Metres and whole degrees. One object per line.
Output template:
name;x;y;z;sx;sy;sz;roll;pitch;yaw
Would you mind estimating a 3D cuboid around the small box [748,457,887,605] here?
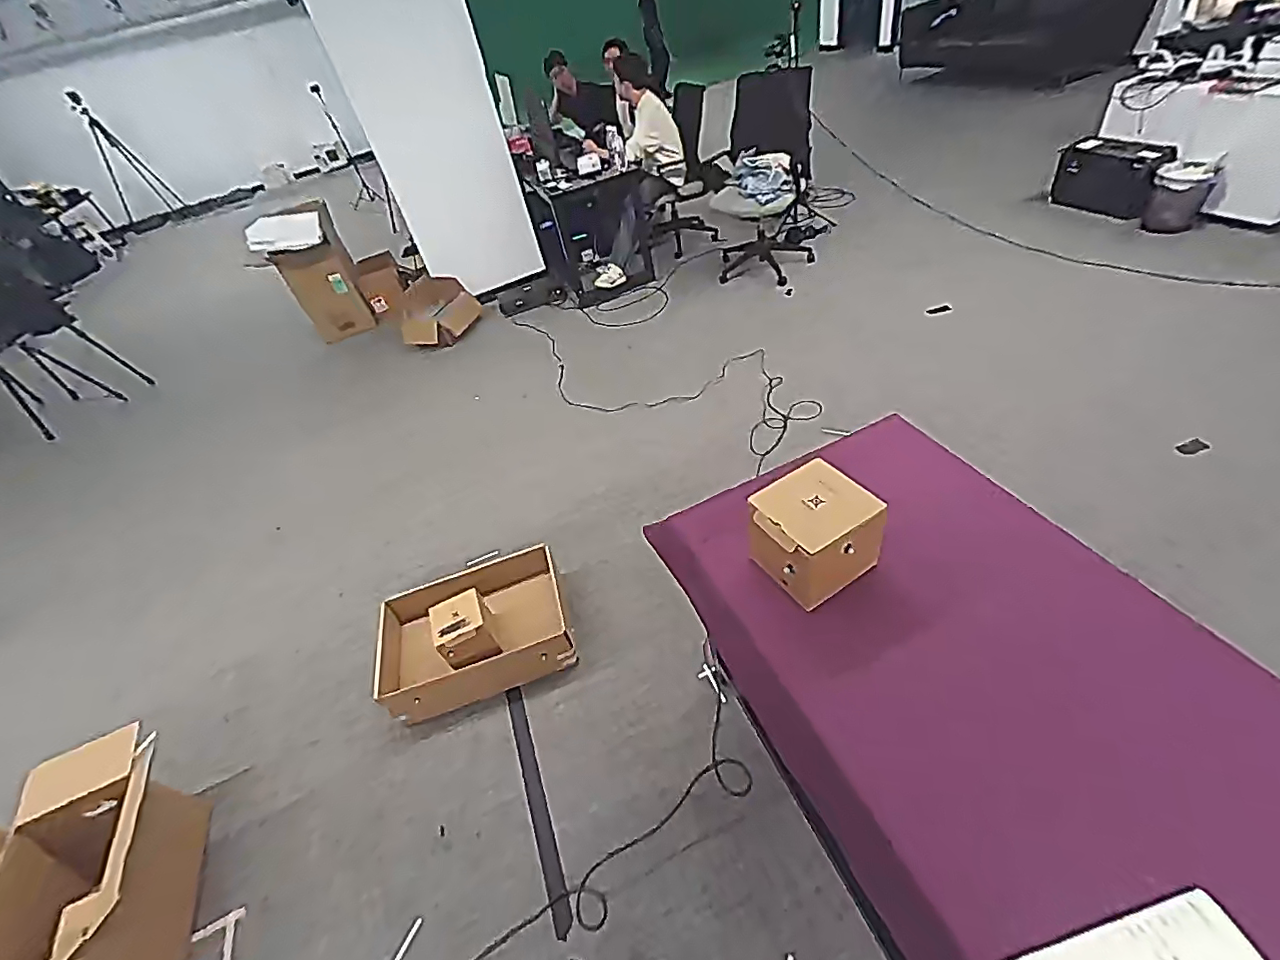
small box;0.322;0.096;0.995;0.179;0.176;0.168;-28;45;-15
